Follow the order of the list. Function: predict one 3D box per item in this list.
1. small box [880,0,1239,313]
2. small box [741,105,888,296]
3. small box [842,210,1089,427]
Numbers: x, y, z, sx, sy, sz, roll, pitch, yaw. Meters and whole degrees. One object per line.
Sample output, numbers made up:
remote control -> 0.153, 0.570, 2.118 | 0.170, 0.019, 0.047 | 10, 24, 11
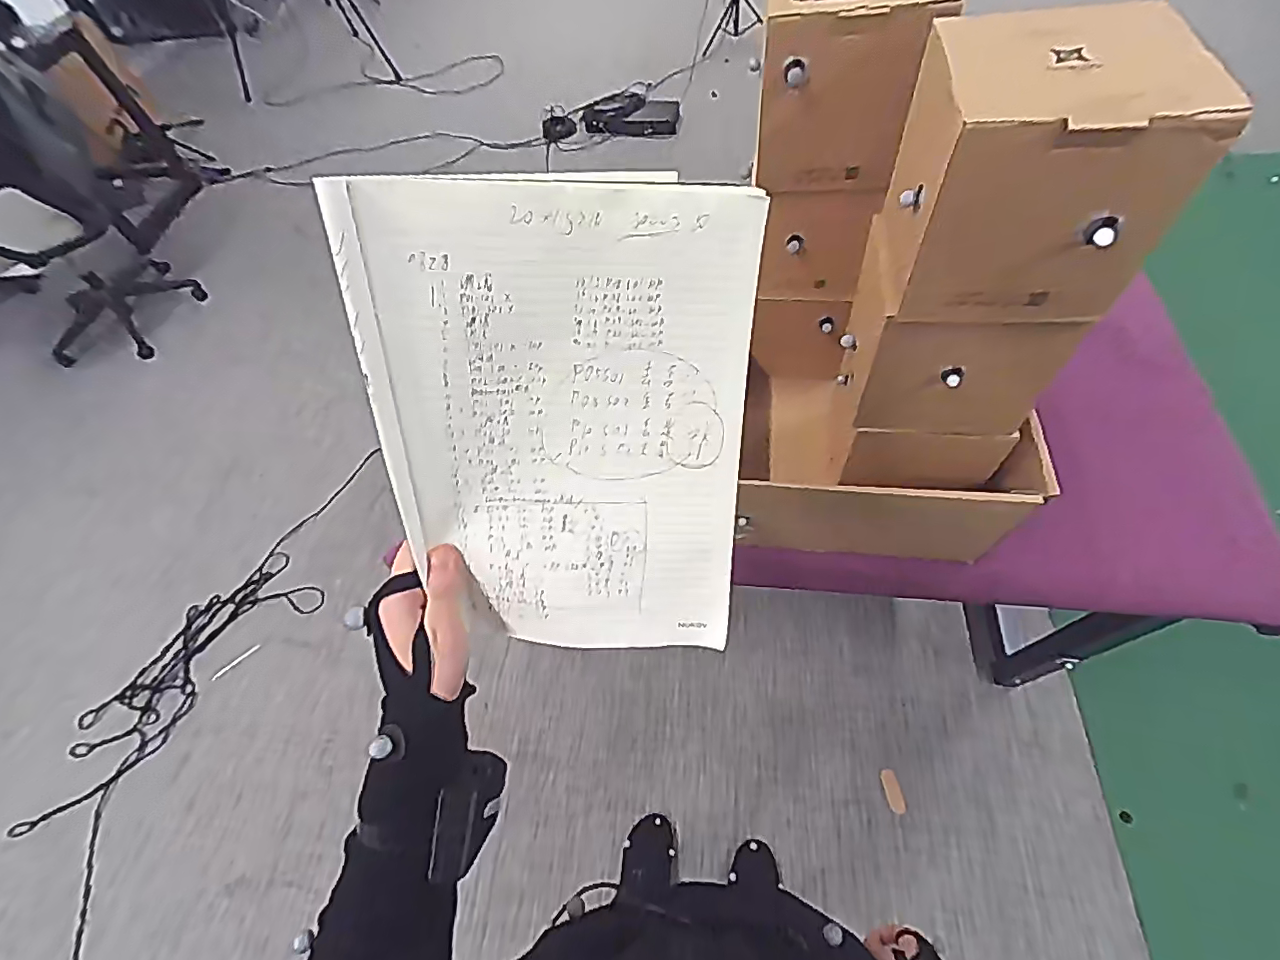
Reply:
small box -> 0.310, -0.259, 0.453 | 0.168, 0.176, 0.179 | 4, 57, 11
small box -> 0.227, -0.370, 0.733 | 0.168, 0.176, 0.179 | 4, 61, 10
small box -> 0.329, -0.172, 0.591 | 0.179, 0.176, 0.168 | 3, 58, 12
